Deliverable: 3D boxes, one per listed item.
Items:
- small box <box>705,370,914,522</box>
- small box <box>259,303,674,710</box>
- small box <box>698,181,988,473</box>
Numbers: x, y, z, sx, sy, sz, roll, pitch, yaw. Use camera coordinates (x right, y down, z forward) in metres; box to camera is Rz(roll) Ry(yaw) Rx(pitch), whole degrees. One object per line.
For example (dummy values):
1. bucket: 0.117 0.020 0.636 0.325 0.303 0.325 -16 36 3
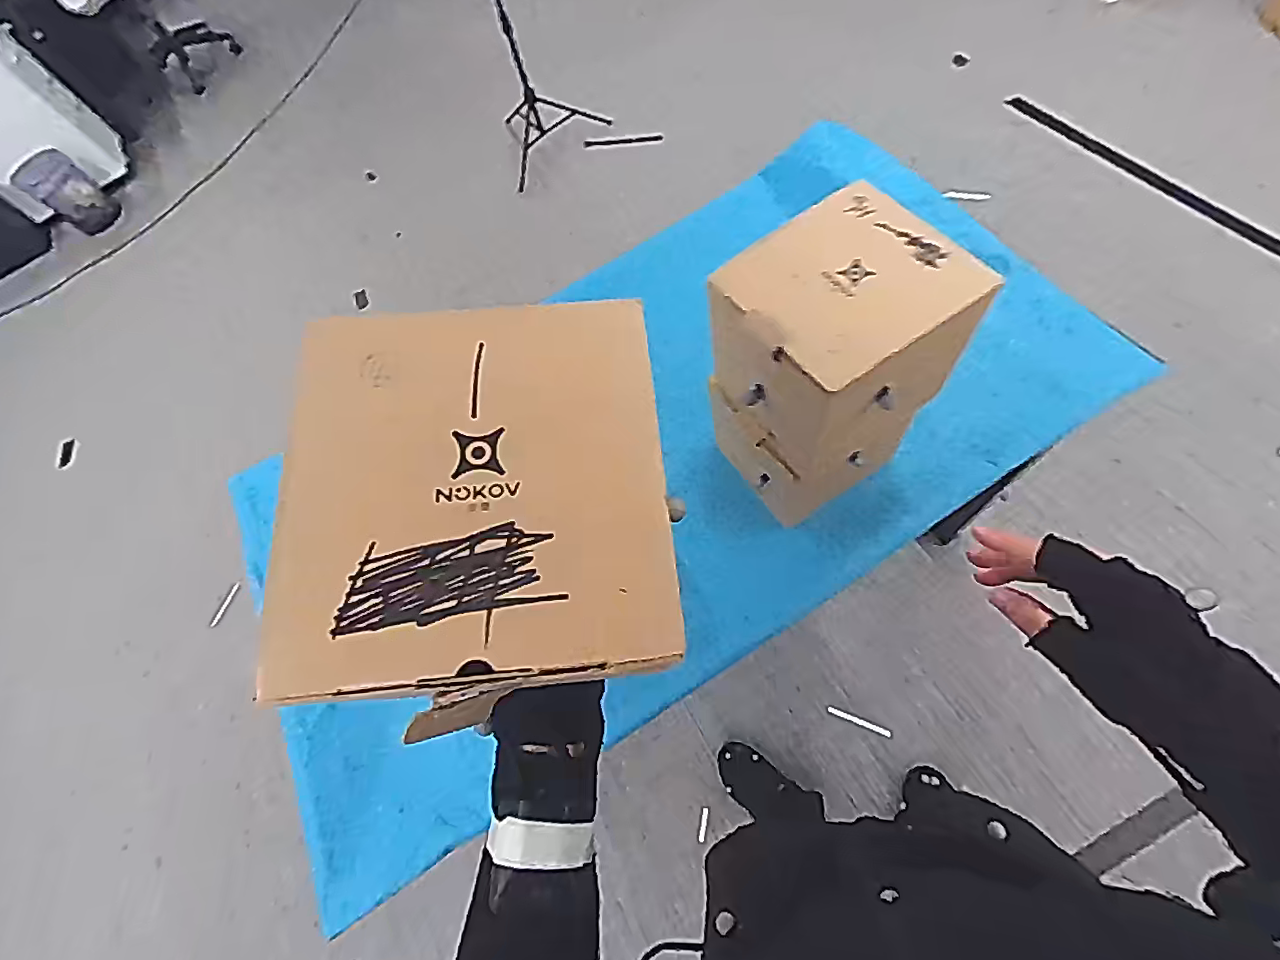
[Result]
1. small box: 0.205 -0.073 0.674 0.179 0.176 0.168 -33 64 -3
2. small box: -0.073 0.027 0.312 0.168 0.176 0.179 -5 70 -3
3. small box: 0.181 -0.136 0.526 0.179 0.176 0.168 -36 64 -5
